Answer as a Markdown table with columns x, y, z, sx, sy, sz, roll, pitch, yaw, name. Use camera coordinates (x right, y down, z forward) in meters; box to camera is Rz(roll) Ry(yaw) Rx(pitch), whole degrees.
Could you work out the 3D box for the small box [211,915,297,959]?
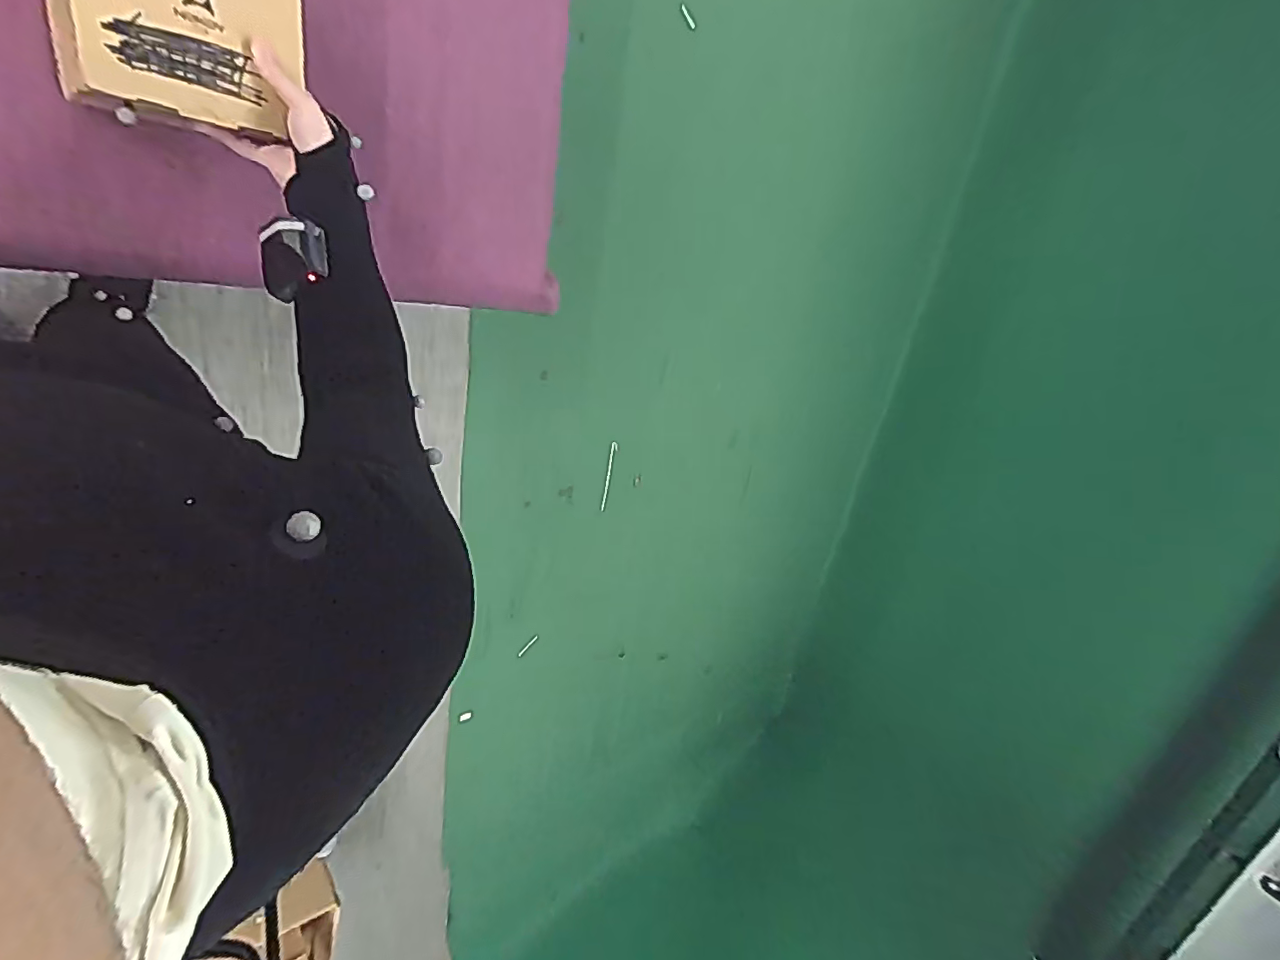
| x | y | z | sx | sy | sz | roll | pitch | yaw | name |
| --- | --- | --- | --- | --- | --- | --- | --- | --- | --- |
| -1.087 | 1.393 | 1.524 | 0.179 | 0.176 | 0.168 | -5 | 116 | -44 | small box |
